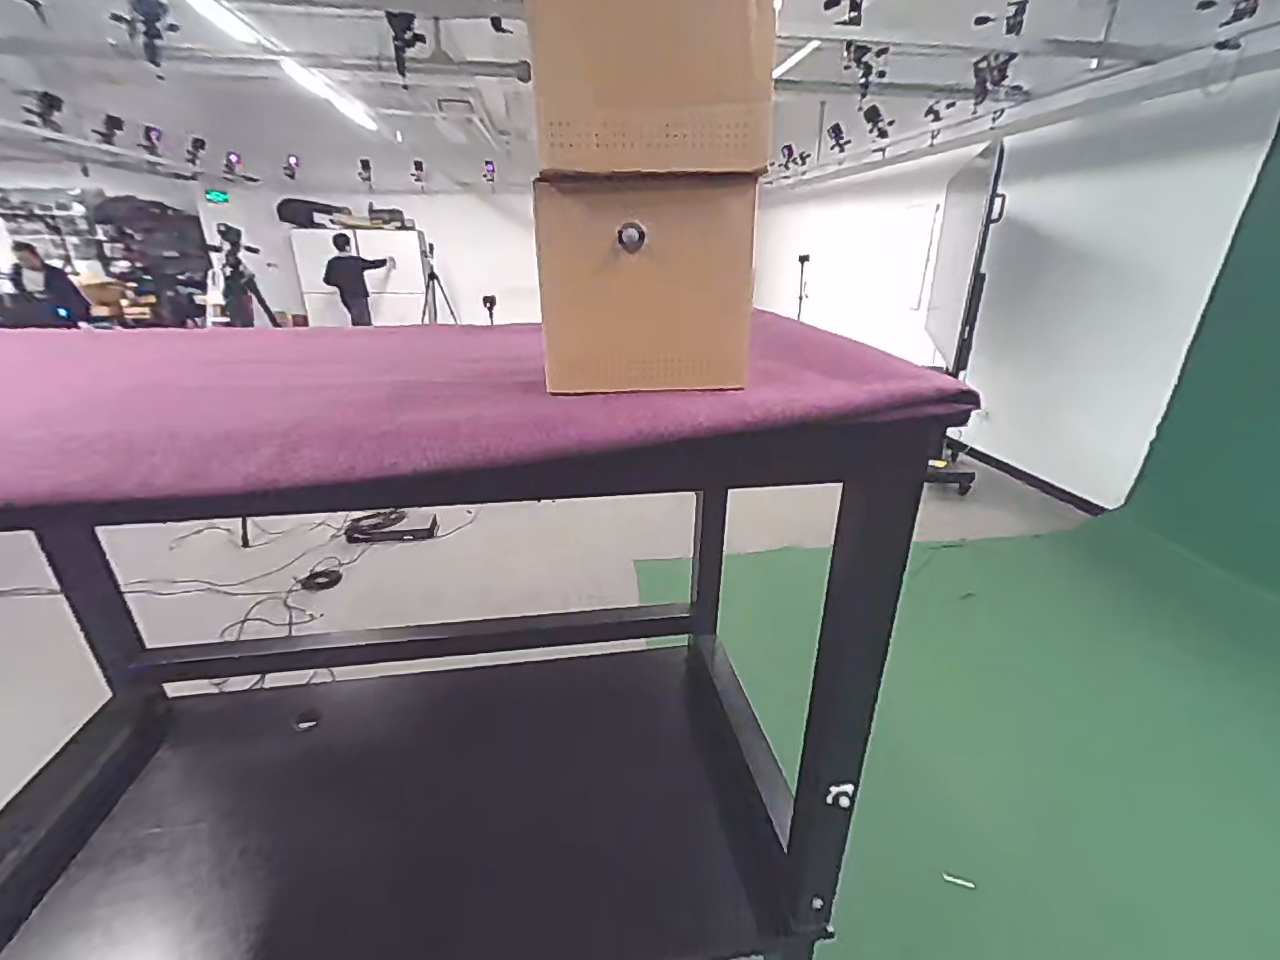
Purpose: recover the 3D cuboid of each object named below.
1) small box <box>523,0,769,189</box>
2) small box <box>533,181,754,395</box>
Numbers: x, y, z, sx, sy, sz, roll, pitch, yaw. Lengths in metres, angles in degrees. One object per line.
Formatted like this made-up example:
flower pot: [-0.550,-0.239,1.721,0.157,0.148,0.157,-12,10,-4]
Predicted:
small box: [0.000,-0.324,0.442,0.179,0.176,0.168,-3,22,-6]
small box: [0.003,-0.179,0.517,0.179,0.176,0.168,-1,22,-2]
